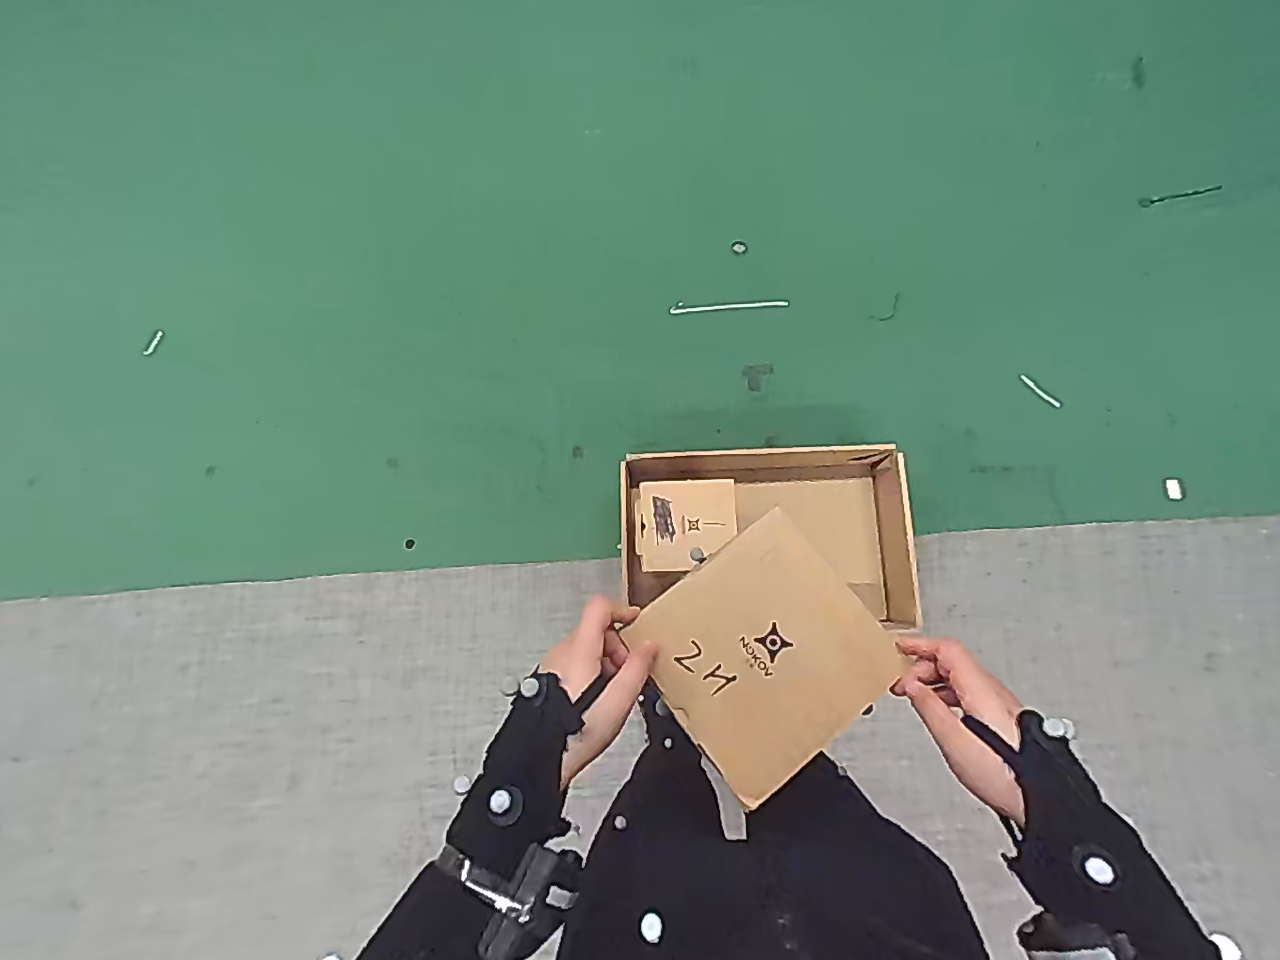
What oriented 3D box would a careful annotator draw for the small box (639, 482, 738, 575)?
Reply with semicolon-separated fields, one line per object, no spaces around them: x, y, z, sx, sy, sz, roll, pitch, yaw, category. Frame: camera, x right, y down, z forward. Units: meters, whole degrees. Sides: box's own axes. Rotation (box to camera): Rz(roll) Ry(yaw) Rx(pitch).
0.092;0.100;1.050;0.179;0.176;0.168;-2;80;1;small box

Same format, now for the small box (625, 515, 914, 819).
0.100;0.158;0.503;0.179;0.176;0.168;-37;78;-9;small box
